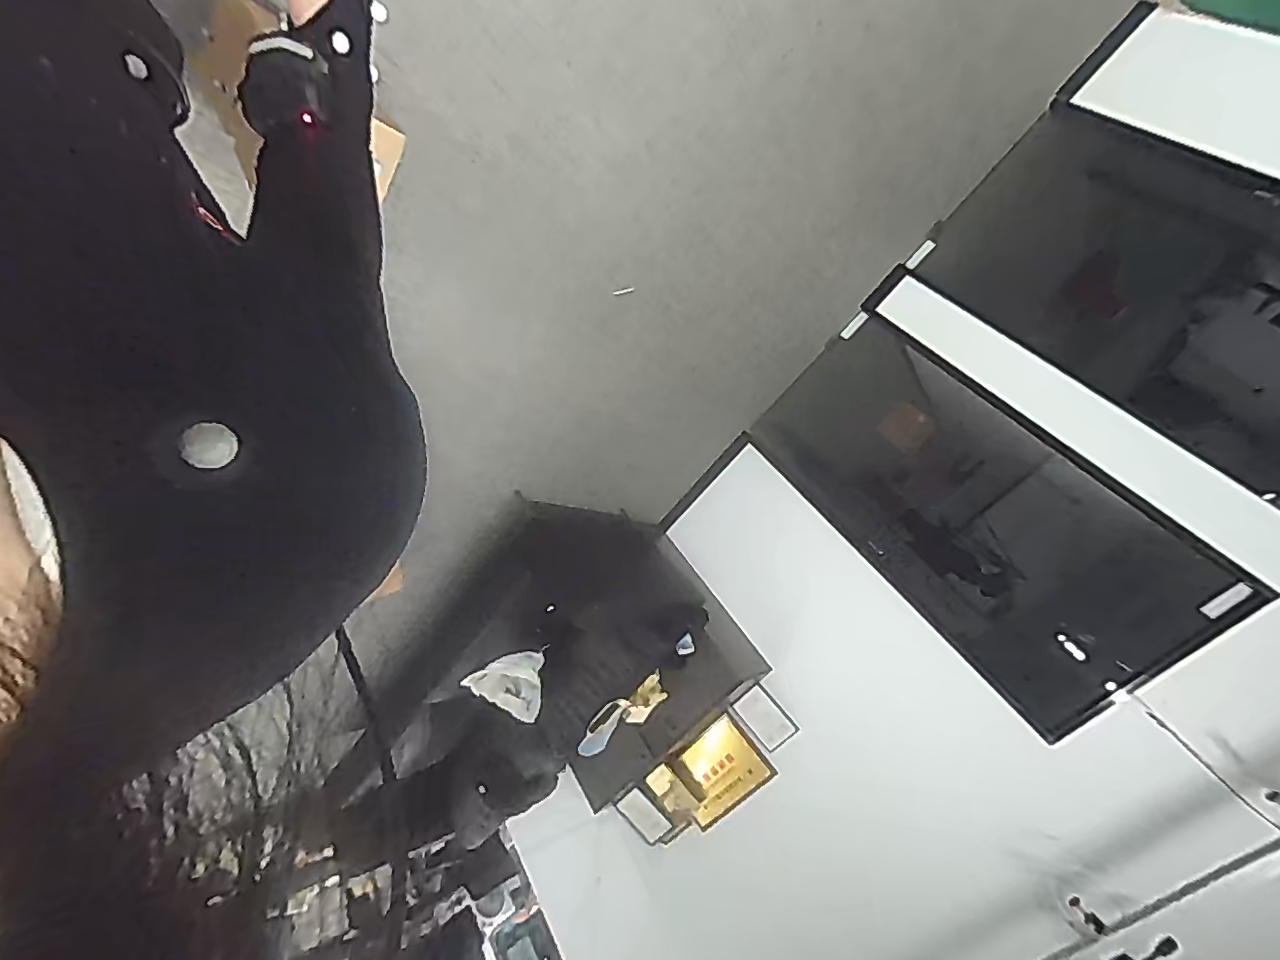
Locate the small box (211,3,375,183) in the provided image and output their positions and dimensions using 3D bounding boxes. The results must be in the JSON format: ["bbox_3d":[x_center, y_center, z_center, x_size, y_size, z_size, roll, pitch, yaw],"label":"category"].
[{"bbox_3d":[-0.591,-0.653,0.915,0.168,0.176,0.179,-49,151,23],"label":"small box"}]

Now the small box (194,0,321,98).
[{"bbox_3d":[-0.685,-0.759,0.996,0.168,0.176,0.179,-49,150,20],"label":"small box"}]
